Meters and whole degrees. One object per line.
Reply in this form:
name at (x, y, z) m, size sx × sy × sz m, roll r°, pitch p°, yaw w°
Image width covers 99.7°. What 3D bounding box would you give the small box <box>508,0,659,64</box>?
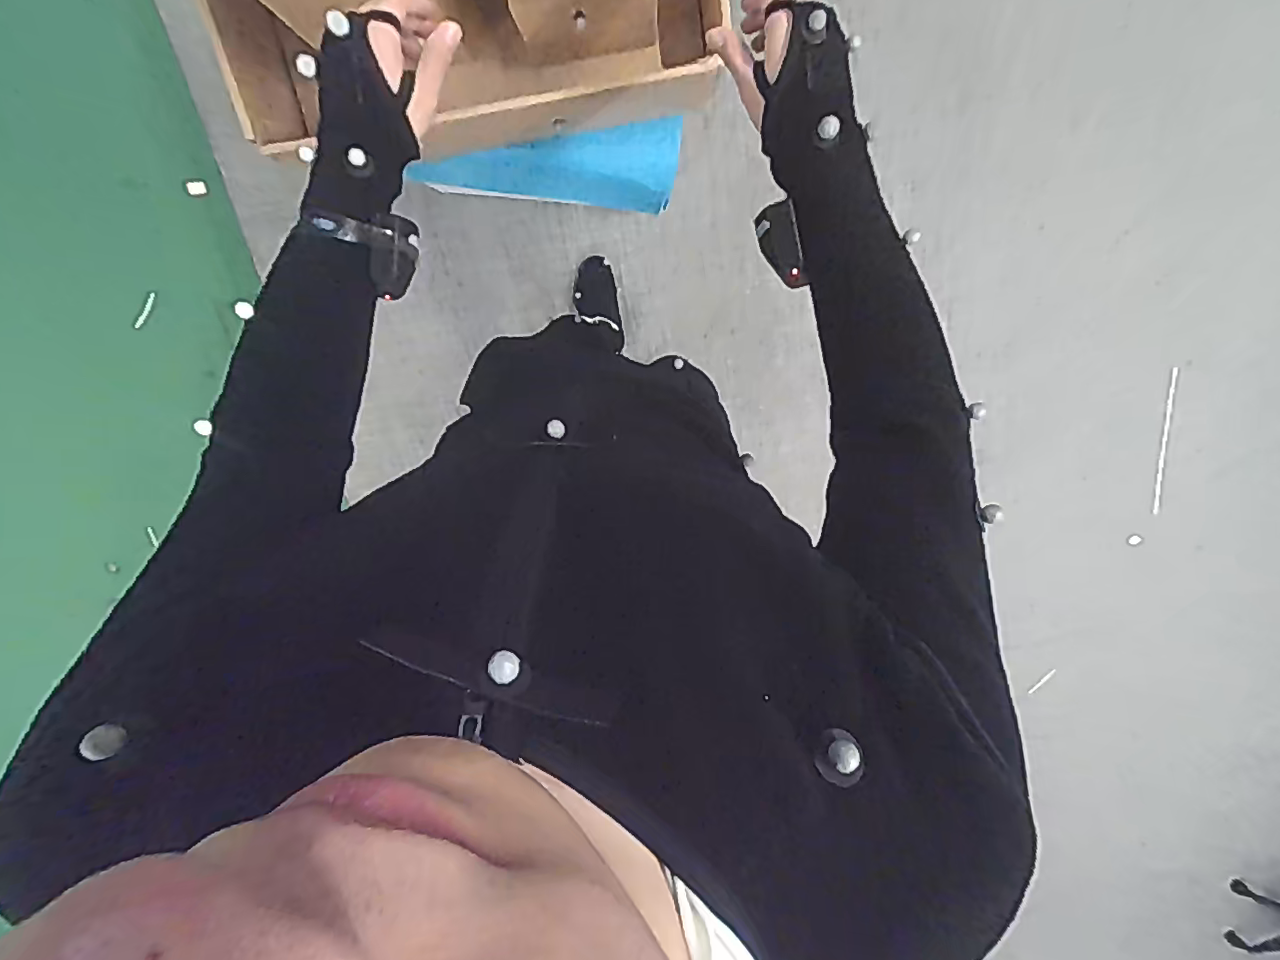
small box at (-0.070, -0.642, 0.656) m, size 0.179 × 0.176 × 0.168 m, roll -8°, pitch 108°, yaw 3°
